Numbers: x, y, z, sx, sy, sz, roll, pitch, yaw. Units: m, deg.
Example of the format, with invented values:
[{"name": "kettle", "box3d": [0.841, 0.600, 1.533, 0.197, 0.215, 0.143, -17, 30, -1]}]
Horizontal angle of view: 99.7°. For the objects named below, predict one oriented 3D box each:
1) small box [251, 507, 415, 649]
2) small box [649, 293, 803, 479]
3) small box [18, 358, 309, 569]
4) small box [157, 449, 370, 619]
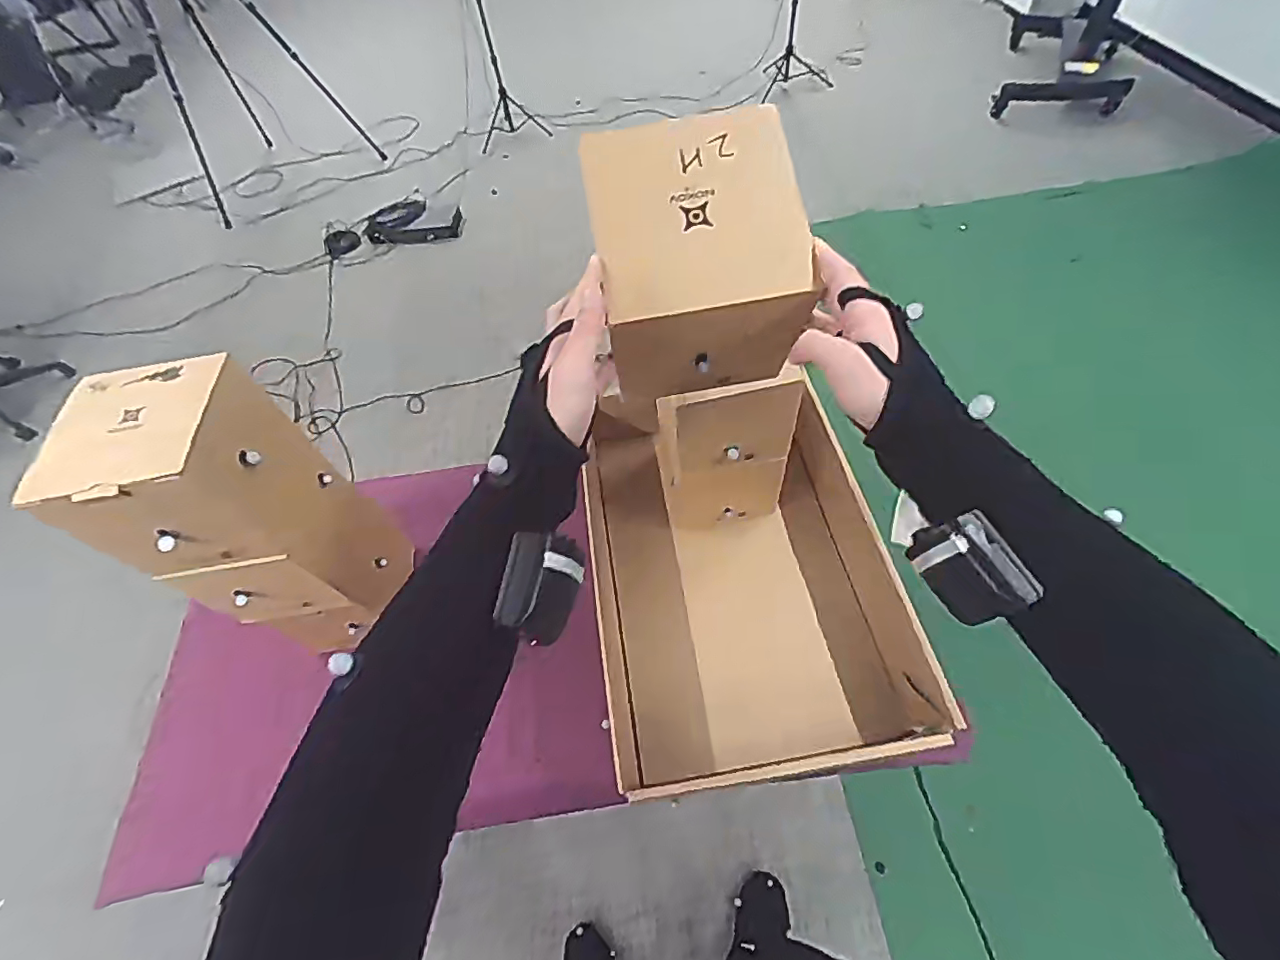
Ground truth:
[{"name": "small box", "box3d": [-0.492, 0.170, 0.900, 0.168, 0.176, 0.179, -9, 56, -1]}, {"name": "small box", "box3d": [0.112, -0.128, 0.764, 0.168, 0.176, 0.179, -12, 58, 0]}, {"name": "small box", "box3d": [-0.521, -0.009, 0.629, 0.168, 0.176, 0.179, -10, 57, -1]}, {"name": "small box", "box3d": [-0.507, 0.085, 0.763, 0.168, 0.176, 0.179, -10, 56, -1]}]
